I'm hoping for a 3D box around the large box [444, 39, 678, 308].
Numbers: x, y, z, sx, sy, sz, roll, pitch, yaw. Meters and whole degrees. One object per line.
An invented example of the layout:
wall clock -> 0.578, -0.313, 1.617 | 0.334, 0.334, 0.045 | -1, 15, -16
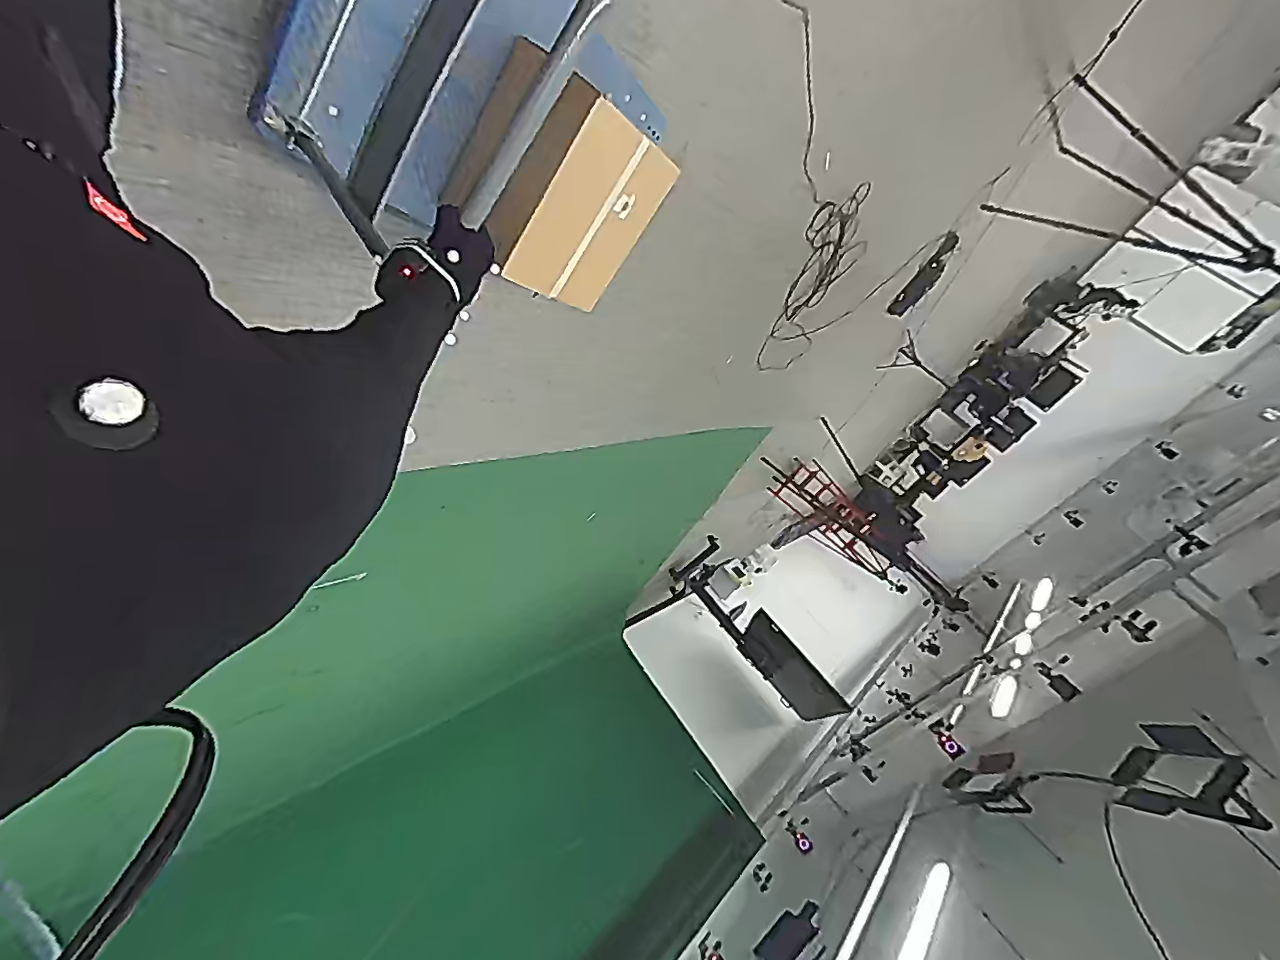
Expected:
large box -> -0.195, -0.693, 1.279 | 0.408, 0.320, 0.320 | -52, 155, 23
